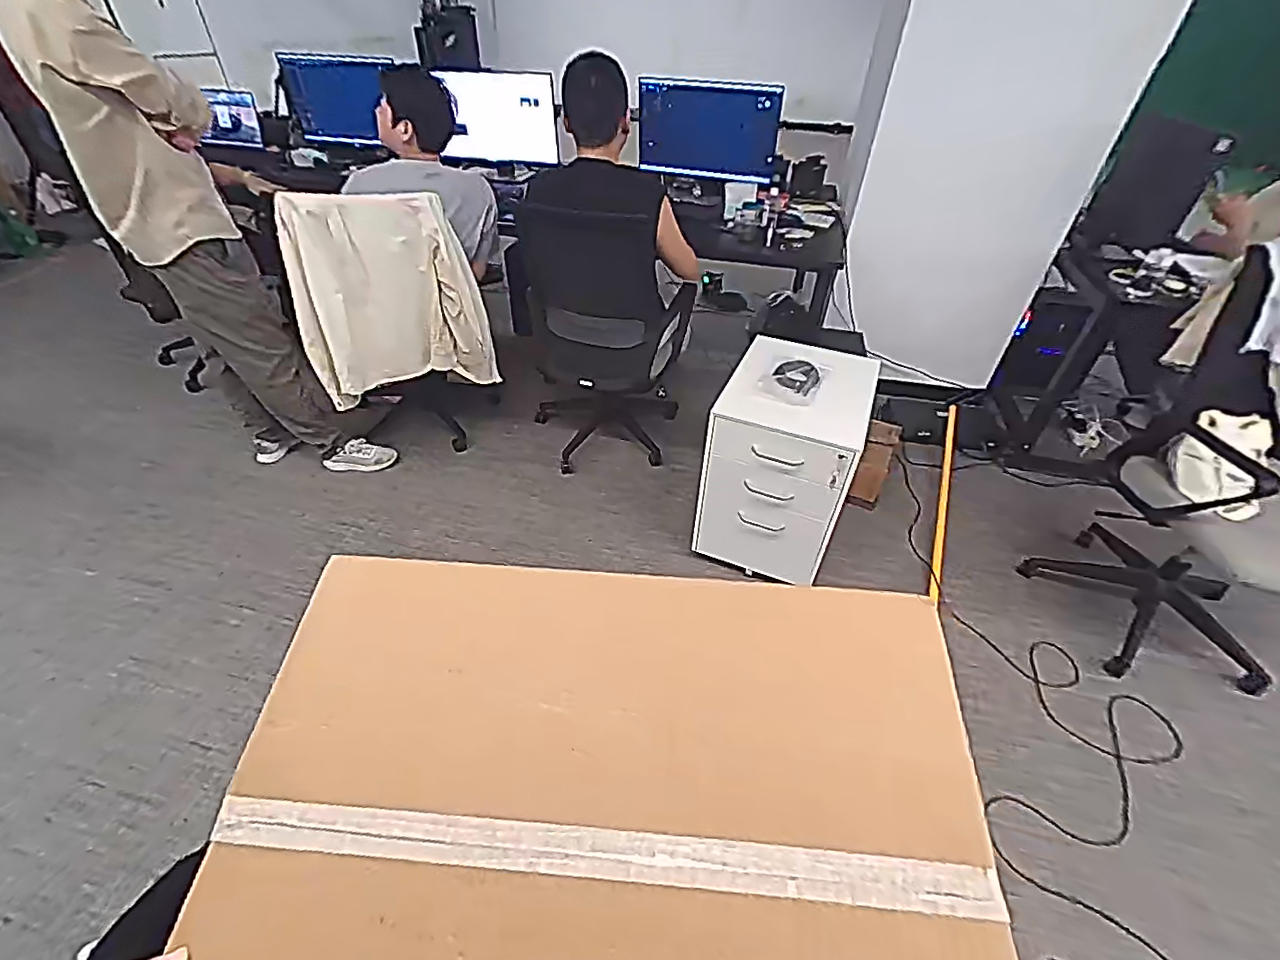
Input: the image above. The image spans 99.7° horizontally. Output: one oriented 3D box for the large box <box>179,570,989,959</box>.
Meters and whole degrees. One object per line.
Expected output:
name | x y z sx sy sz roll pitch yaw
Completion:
large box | -0.024 0.282 0.412 0.408 0.320 0.320 3 57 4
